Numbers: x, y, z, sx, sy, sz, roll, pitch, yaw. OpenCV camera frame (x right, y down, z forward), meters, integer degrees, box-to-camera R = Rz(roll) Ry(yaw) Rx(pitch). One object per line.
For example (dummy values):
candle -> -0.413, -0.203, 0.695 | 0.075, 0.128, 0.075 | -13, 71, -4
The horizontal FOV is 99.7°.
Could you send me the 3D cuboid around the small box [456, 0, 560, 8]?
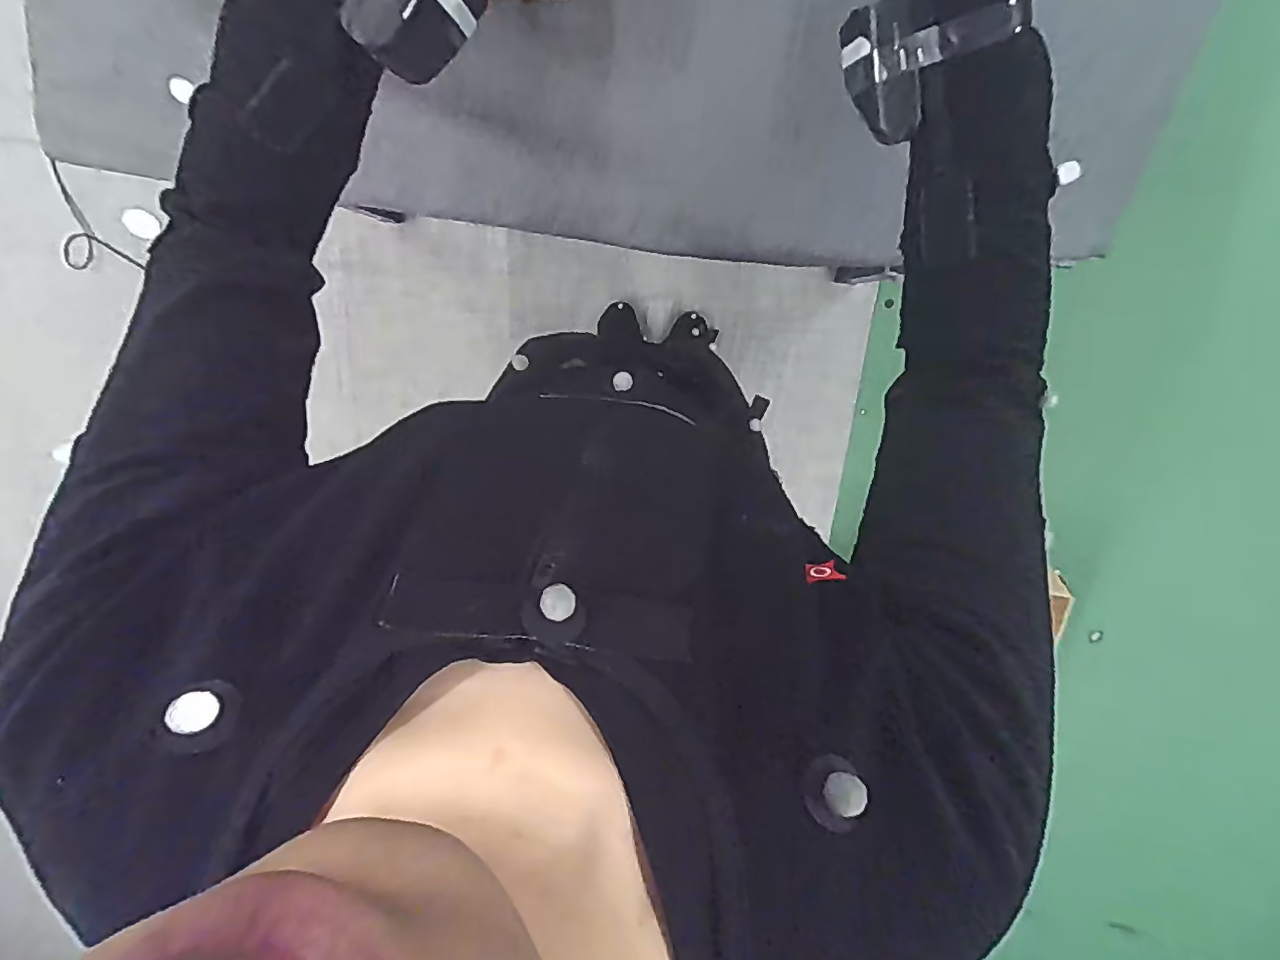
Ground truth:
small box -> -0.157, -0.571, 0.477 | 0.168, 0.176, 0.179 | 3, 107, 0
